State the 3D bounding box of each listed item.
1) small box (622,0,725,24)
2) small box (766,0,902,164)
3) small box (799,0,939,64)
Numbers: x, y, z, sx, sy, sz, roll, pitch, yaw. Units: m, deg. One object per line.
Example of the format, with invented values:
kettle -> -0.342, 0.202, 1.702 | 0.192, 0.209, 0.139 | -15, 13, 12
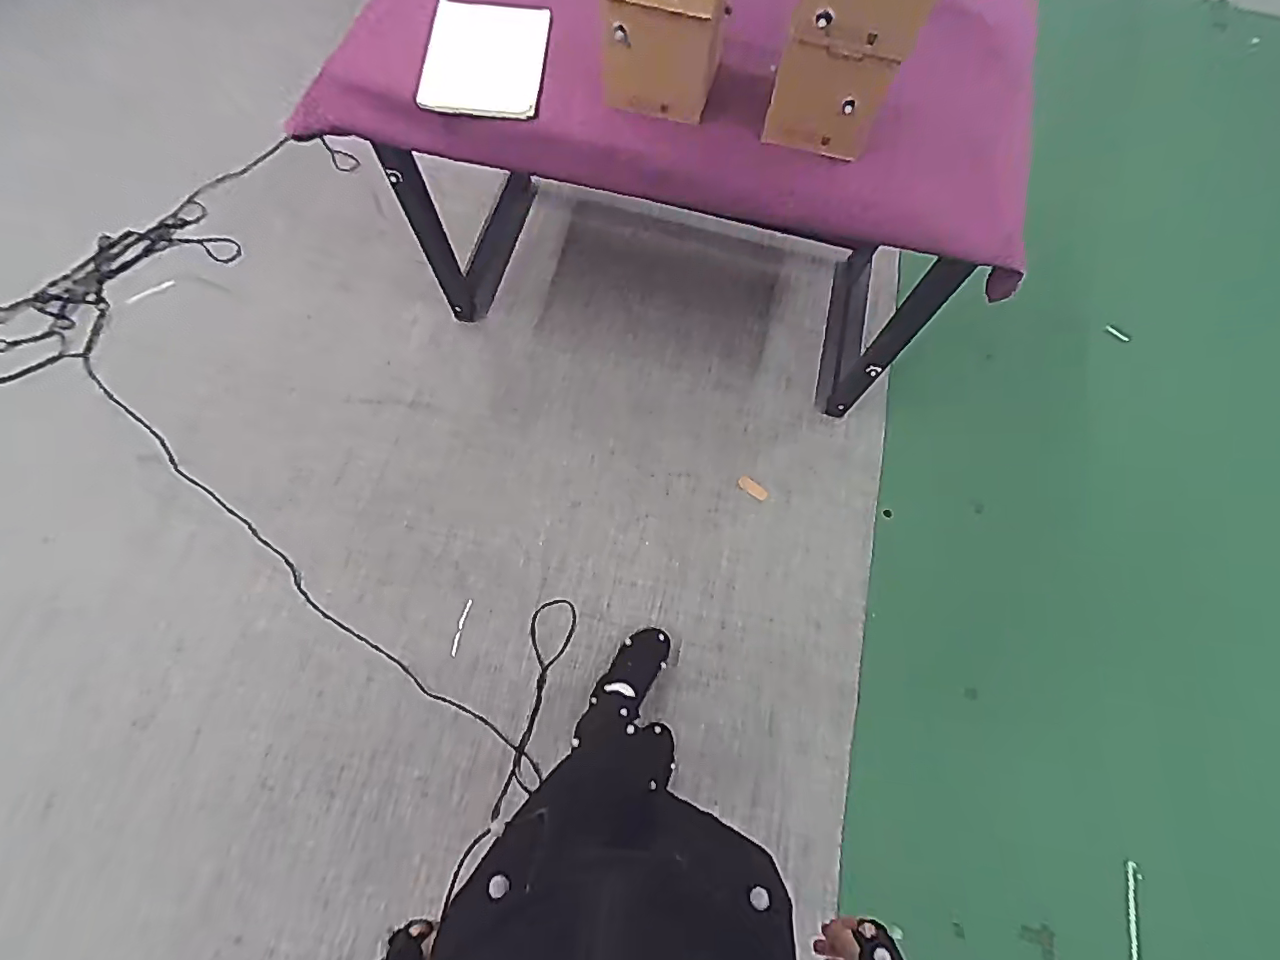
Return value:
small box -> 0.054, -0.767, 0.728 | 0.168, 0.176, 0.179 | 15, 70, 4
small box -> 0.312, -0.651, 0.871 | 0.168, 0.176, 0.179 | 15, 70, 3
small box -> 0.322, -0.700, 0.715 | 0.168, 0.176, 0.179 | 14, 70, 2
